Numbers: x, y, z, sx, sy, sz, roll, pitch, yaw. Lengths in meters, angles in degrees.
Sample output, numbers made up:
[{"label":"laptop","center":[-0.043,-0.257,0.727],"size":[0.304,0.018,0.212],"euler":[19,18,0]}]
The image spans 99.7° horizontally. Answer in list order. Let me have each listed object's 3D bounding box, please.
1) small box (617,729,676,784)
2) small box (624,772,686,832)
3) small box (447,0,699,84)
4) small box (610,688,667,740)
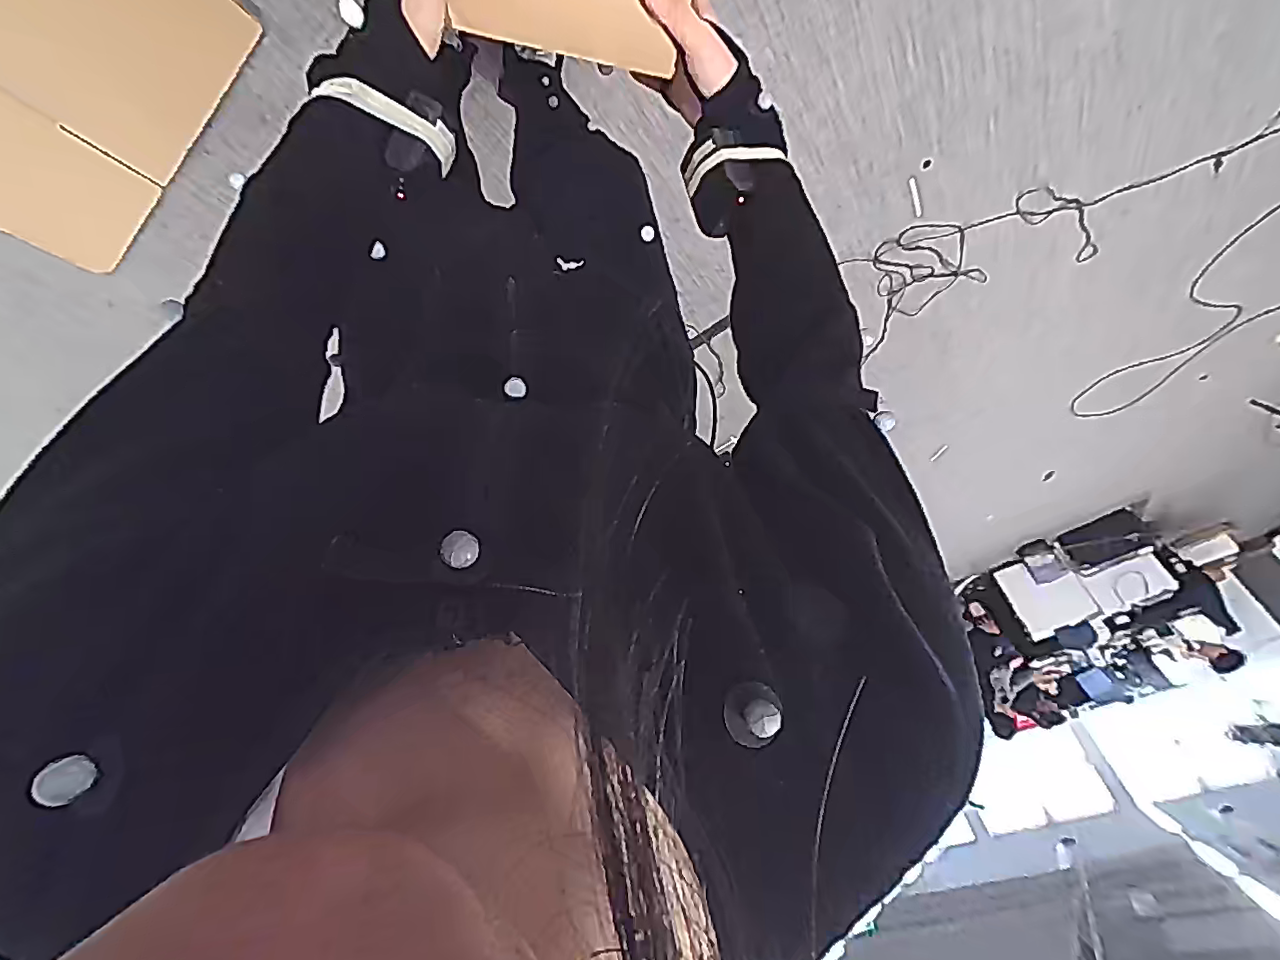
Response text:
[{"label":"small box","center":[0.025,1.140,2.235],"size":[0.168,0.176,0.179],"euler":[-28,145,17]},{"label":"small box","center":[0.057,1.269,2.139],"size":[0.168,0.176,0.179],"euler":[-28,145,17]},{"label":"small box","center":[-0.050,-0.431,0.392],"size":[0.179,0.176,0.168],"euler":[-2,144,-20]},{"label":"small box","center":[-0.008,1.010,2.328],"size":[0.168,0.176,0.179],"euler":[-29,144,19]}]
